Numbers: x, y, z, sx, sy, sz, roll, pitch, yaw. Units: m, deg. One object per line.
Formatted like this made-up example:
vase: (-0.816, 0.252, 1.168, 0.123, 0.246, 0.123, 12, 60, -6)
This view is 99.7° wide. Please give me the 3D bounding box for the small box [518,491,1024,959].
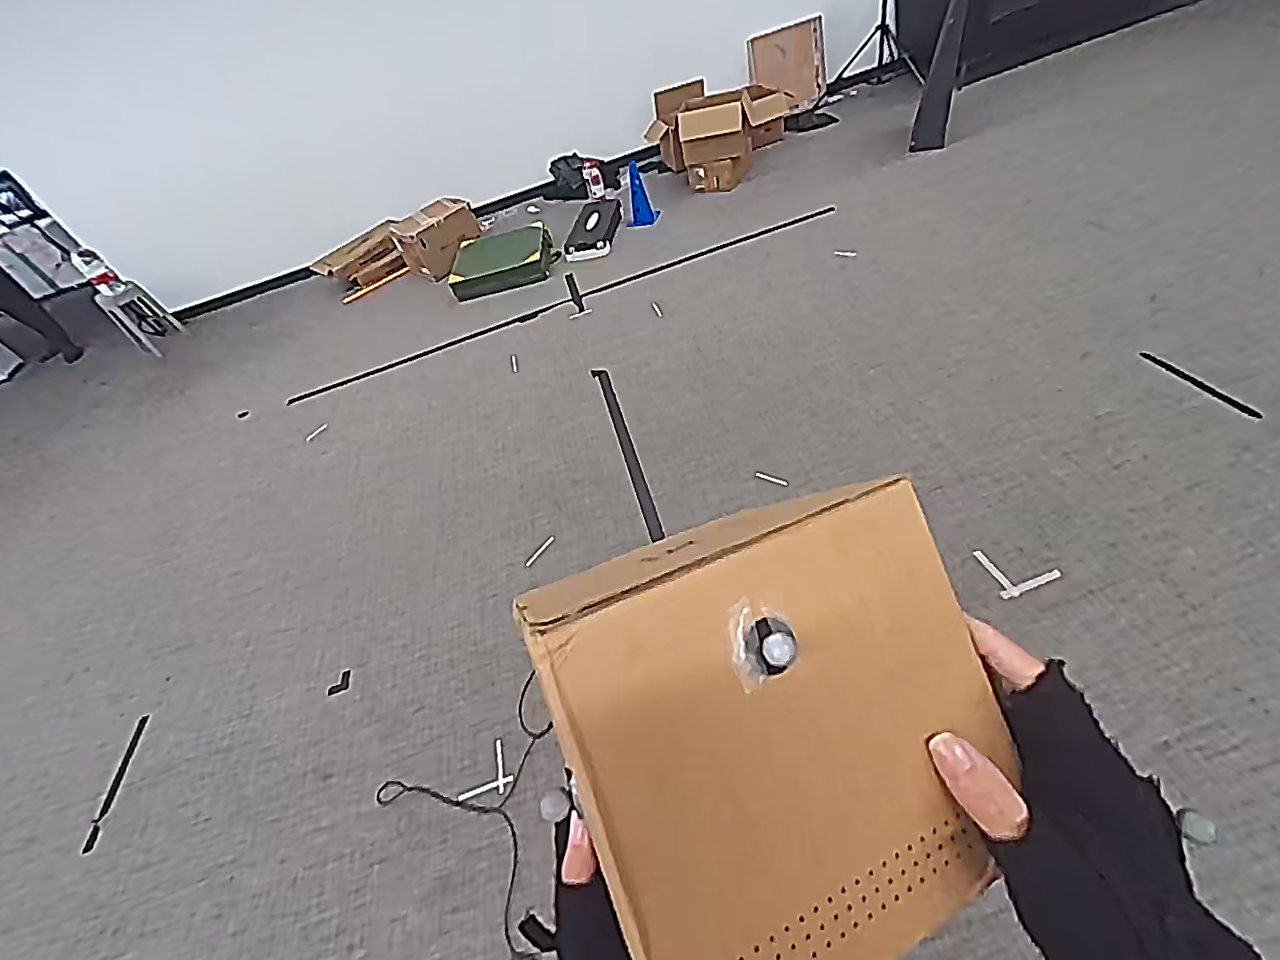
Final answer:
small box: (0.049, 0.122, 0.283, 0.179, 0.168, 0.176, -19, 87, -17)
